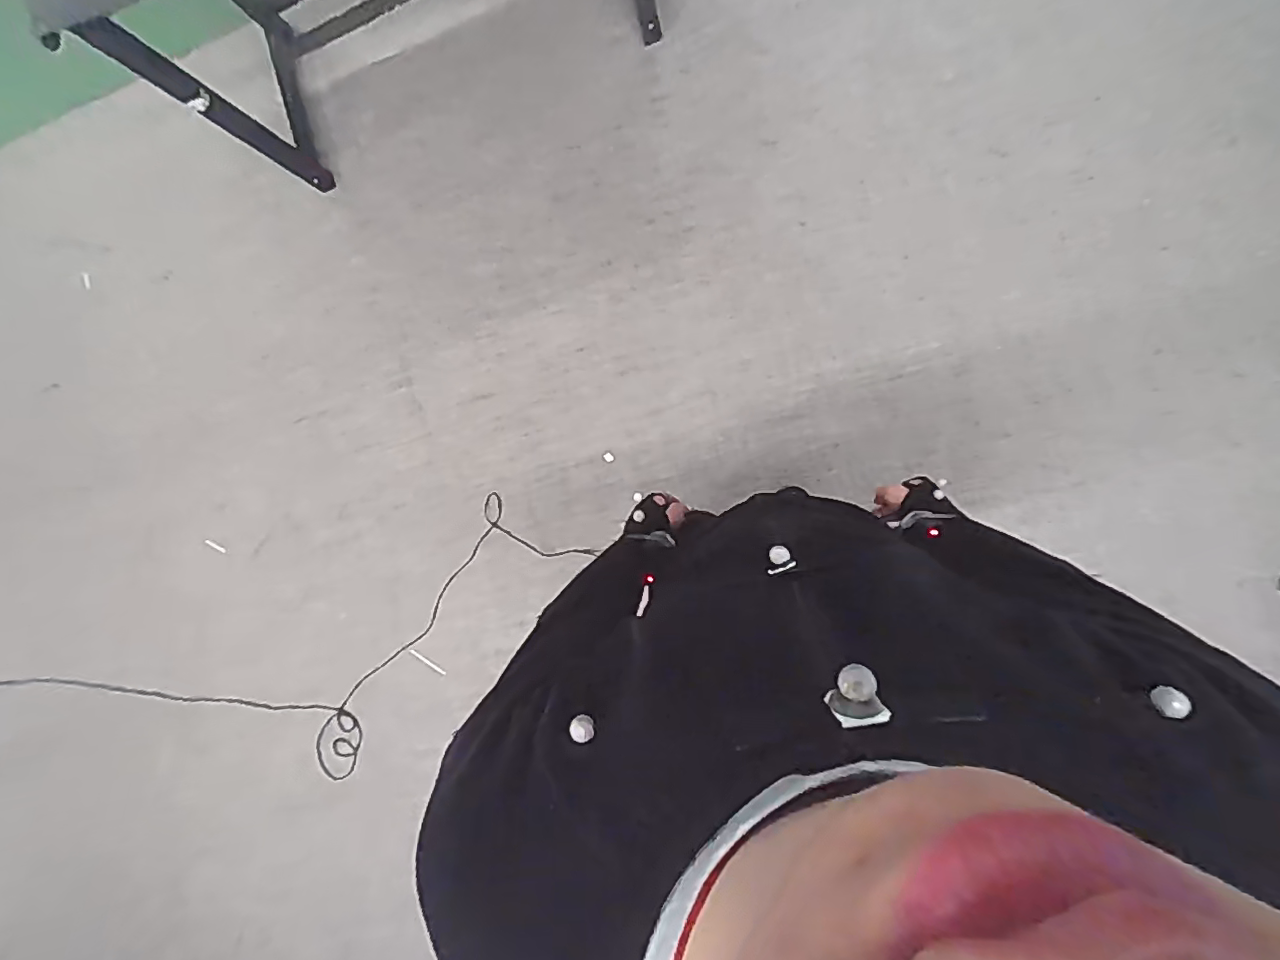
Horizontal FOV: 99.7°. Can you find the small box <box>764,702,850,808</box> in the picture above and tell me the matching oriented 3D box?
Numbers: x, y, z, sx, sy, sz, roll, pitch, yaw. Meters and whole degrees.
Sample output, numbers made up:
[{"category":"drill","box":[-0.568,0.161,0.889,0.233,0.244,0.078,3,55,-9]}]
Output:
[{"category":"small box","box":[0.441,0.729,1.446,0.168,0.176,0.179,-21,86,10]}]
